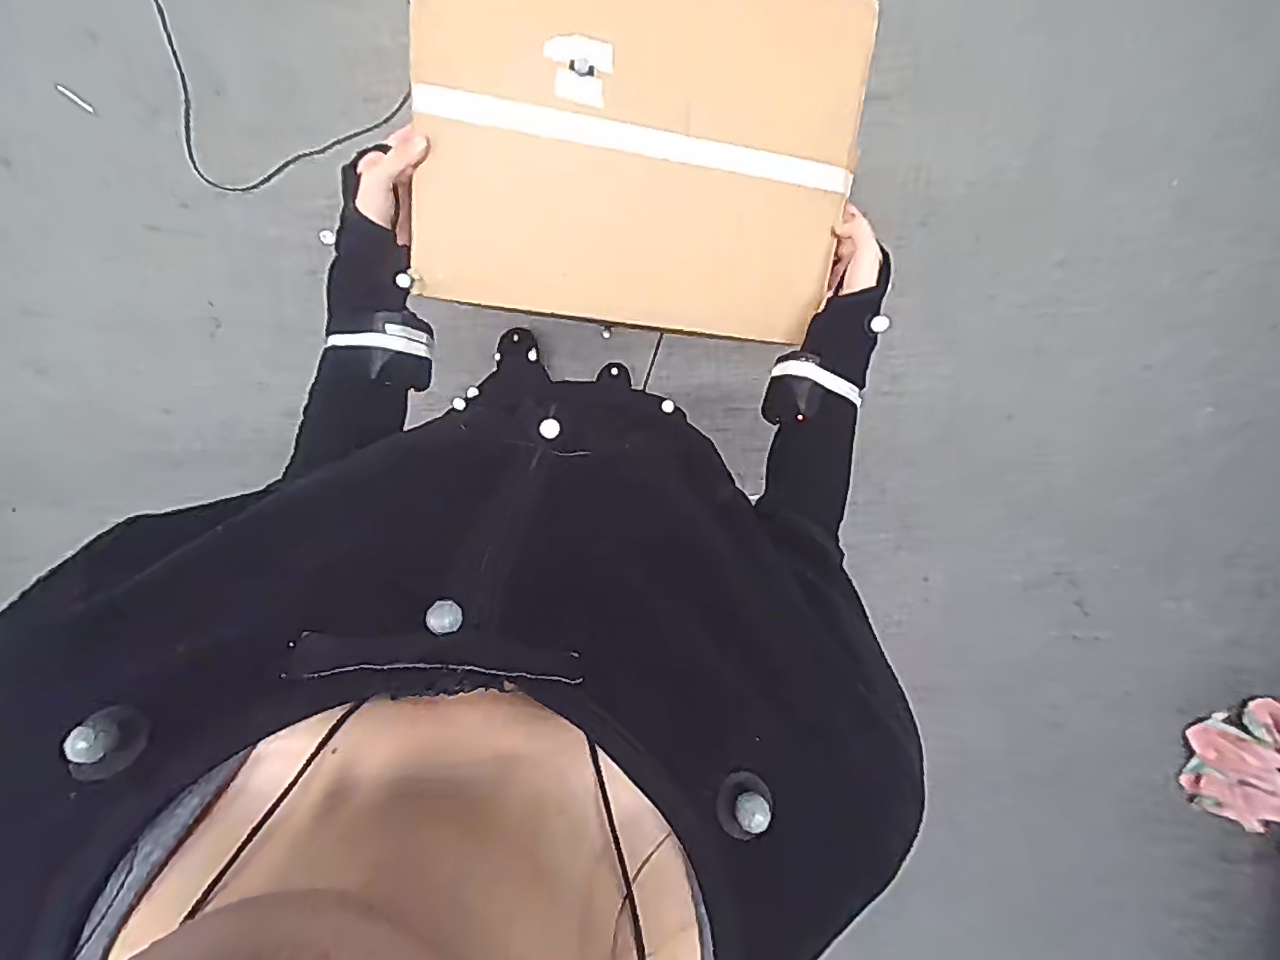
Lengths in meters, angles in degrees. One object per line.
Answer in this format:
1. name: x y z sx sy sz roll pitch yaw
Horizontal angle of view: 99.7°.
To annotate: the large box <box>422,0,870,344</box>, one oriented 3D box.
1. large box: -0.017 -0.350 0.650 0.408 0.320 0.320 5 105 -12
